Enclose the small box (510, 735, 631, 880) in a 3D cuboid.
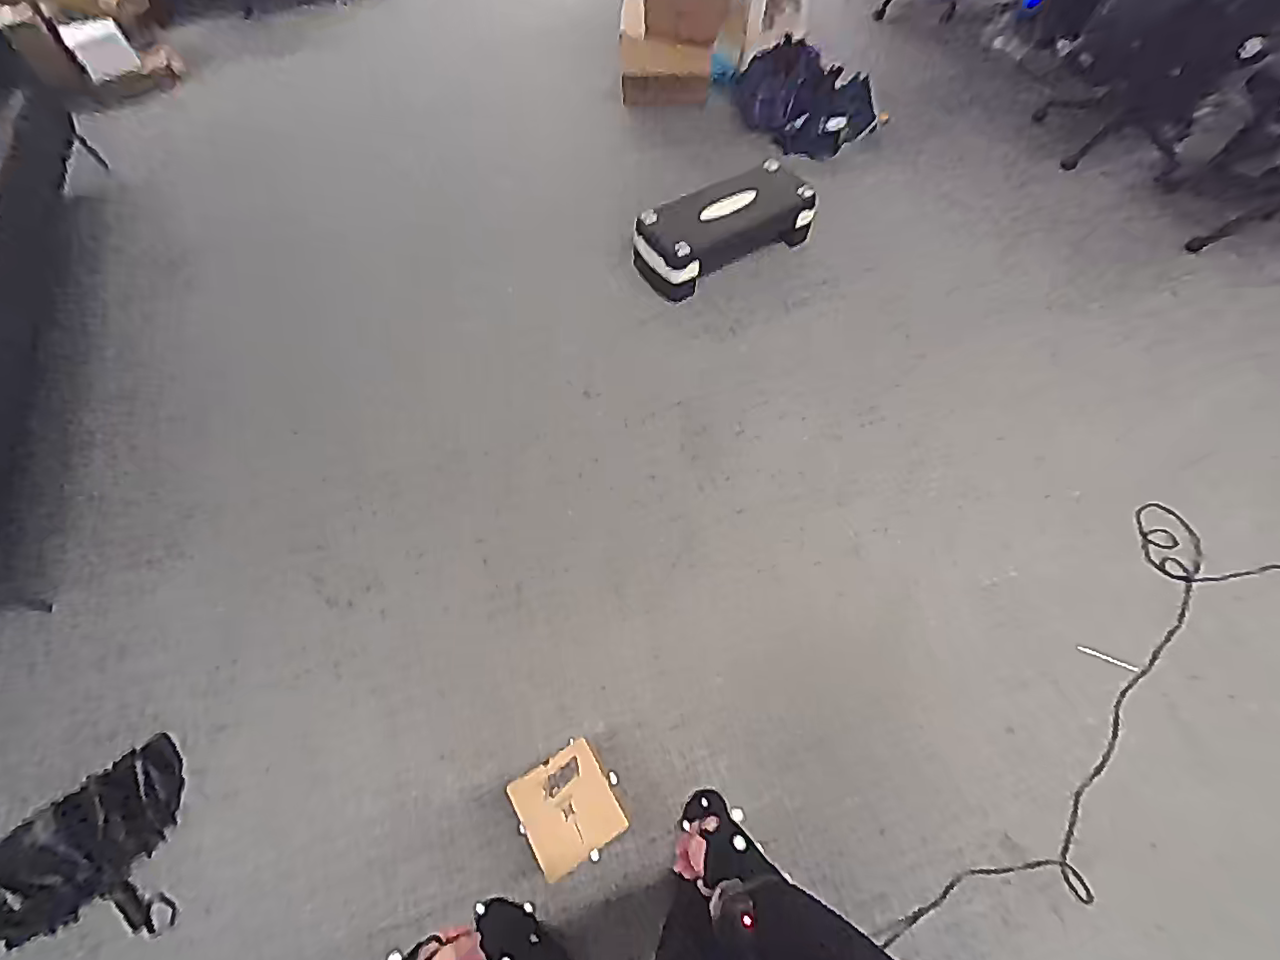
[{"bbox_3d":[-0.131,0.629,1.056,0.168,0.176,0.179,-29,67,-14],"label":"small box"}]
